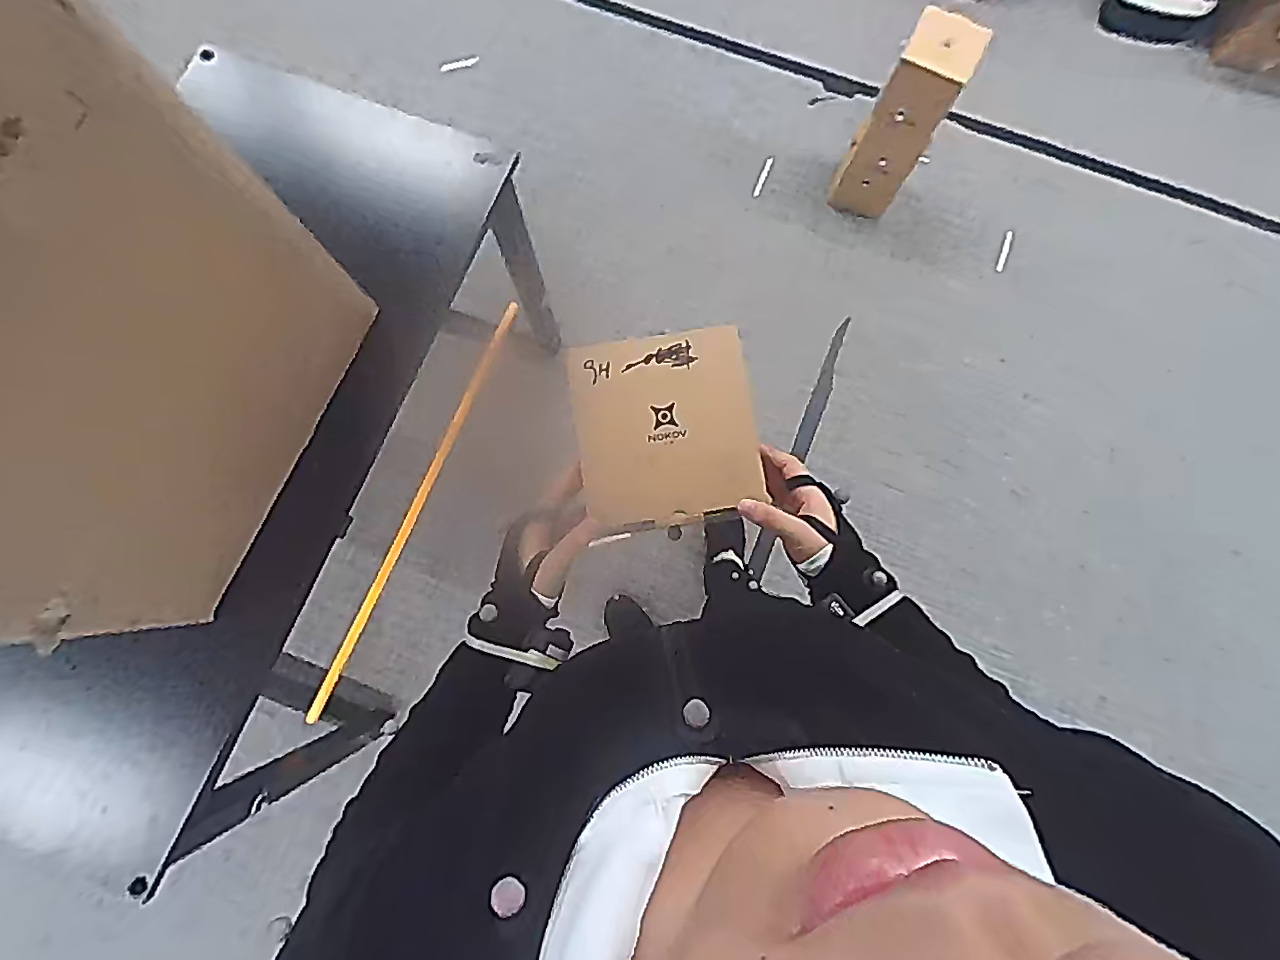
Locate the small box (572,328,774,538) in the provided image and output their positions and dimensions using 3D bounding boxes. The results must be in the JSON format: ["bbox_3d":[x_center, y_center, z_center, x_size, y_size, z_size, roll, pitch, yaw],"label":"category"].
[{"bbox_3d":[0.030,-0.037,0.568,0.168,0.176,0.179,-8,84,0],"label":"small box"}]

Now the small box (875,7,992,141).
[{"bbox_3d":[0.715,-0.995,1.337,0.168,0.176,0.179,27,81,5],"label":"small box"}]

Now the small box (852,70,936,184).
[{"bbox_3d":[0.715,-0.971,1.498,0.168,0.176,0.179,22,80,3],"label":"small box"}]

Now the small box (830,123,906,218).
[{"bbox_3d":[0.707,-0.941,1.660,0.179,0.176,0.168,18,80,2],"label":"small box"}]
